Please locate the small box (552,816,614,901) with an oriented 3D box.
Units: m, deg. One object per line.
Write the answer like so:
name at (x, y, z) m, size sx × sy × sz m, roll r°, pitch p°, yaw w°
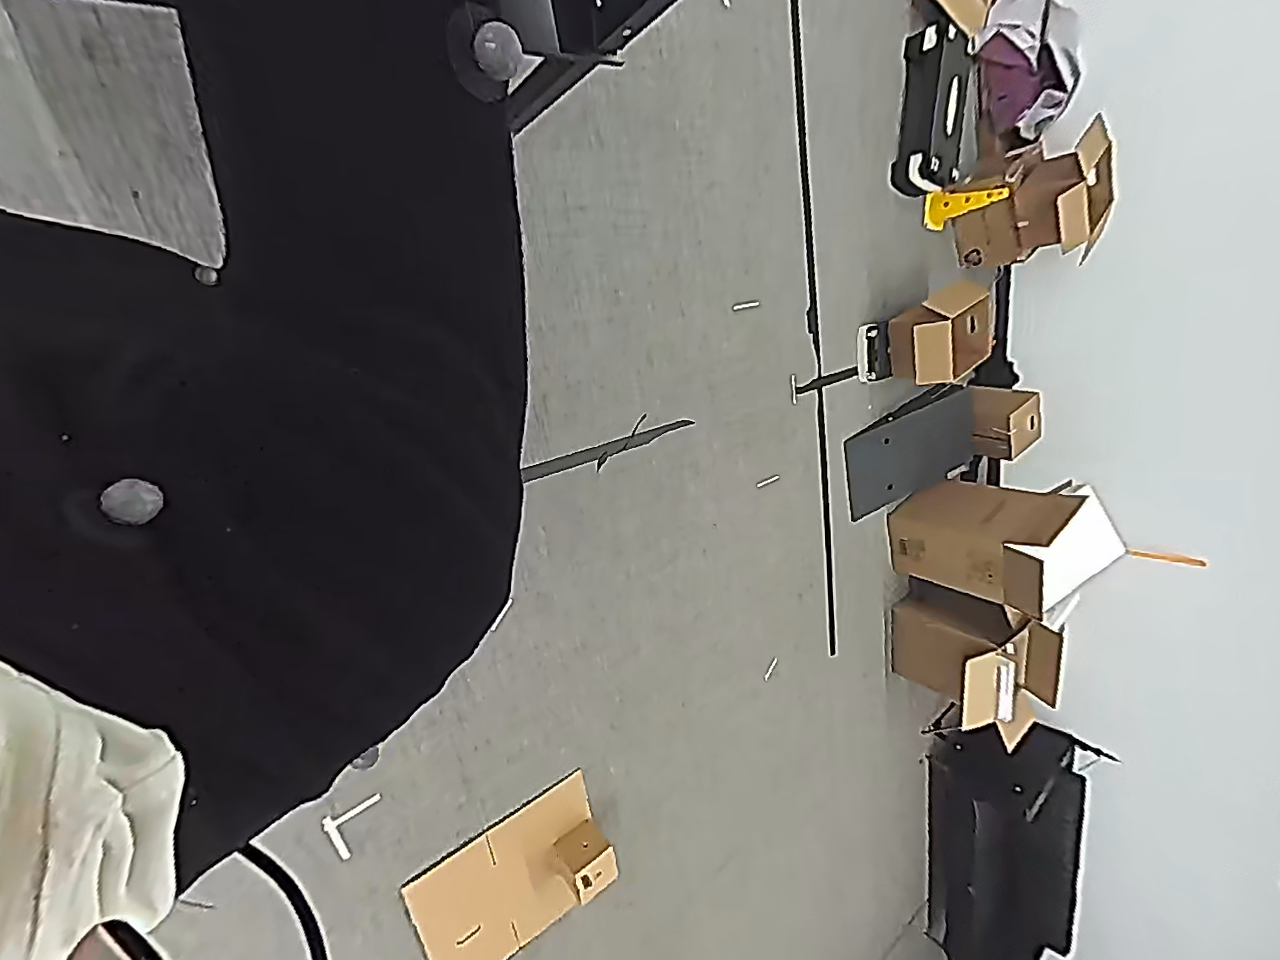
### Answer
small box at (-0.231, 1.480, 2.125) m, size 0.179 × 0.176 × 0.168 m, roll -21°, pitch 112°, yaw -34°
